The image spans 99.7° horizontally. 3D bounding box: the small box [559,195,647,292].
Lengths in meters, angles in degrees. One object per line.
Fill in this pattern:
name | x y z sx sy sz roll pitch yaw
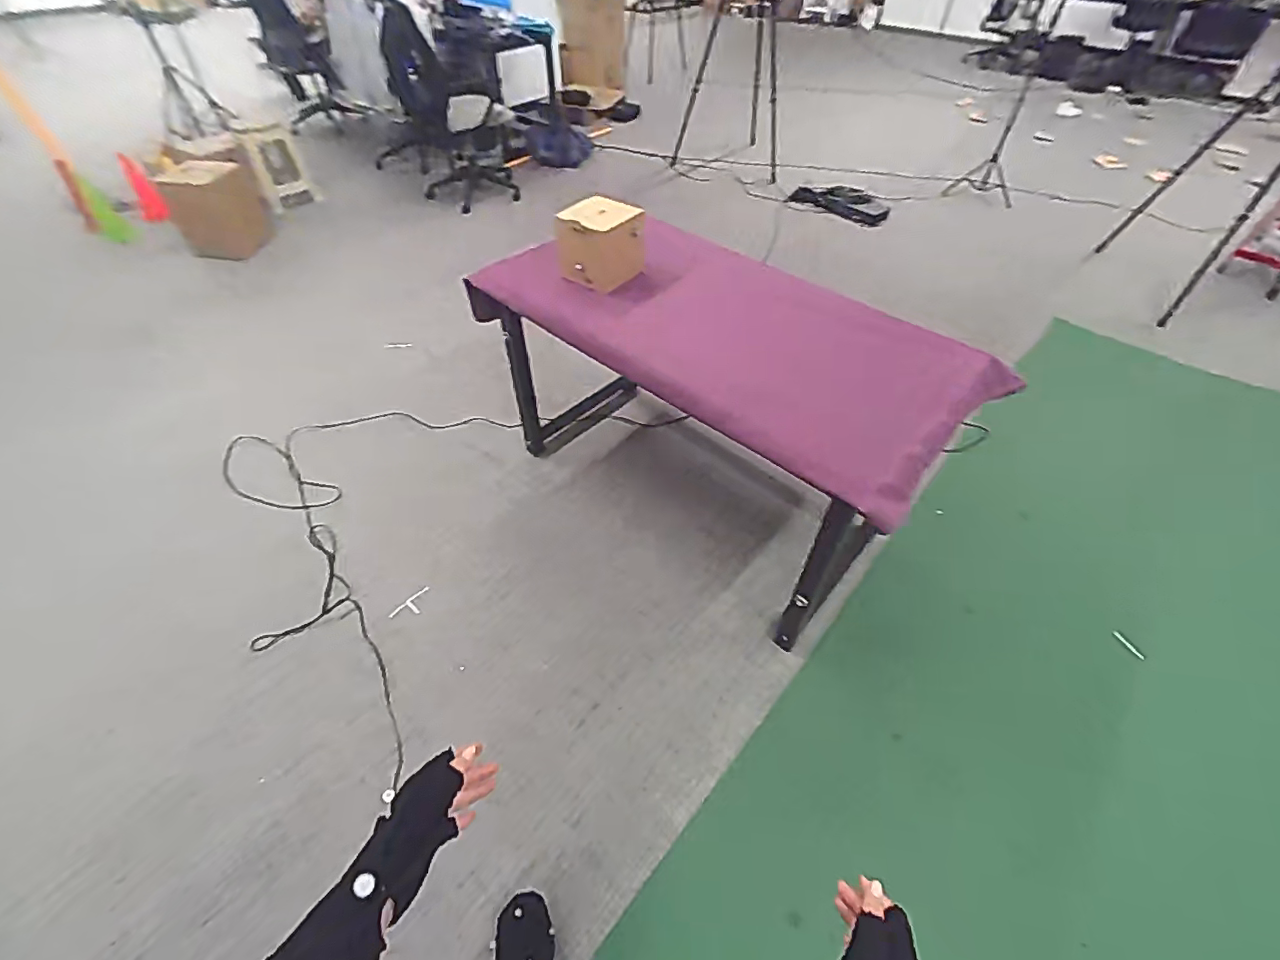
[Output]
small box | -0.098 -0.642 1.469 0.168 0.176 0.179 29 54 24
